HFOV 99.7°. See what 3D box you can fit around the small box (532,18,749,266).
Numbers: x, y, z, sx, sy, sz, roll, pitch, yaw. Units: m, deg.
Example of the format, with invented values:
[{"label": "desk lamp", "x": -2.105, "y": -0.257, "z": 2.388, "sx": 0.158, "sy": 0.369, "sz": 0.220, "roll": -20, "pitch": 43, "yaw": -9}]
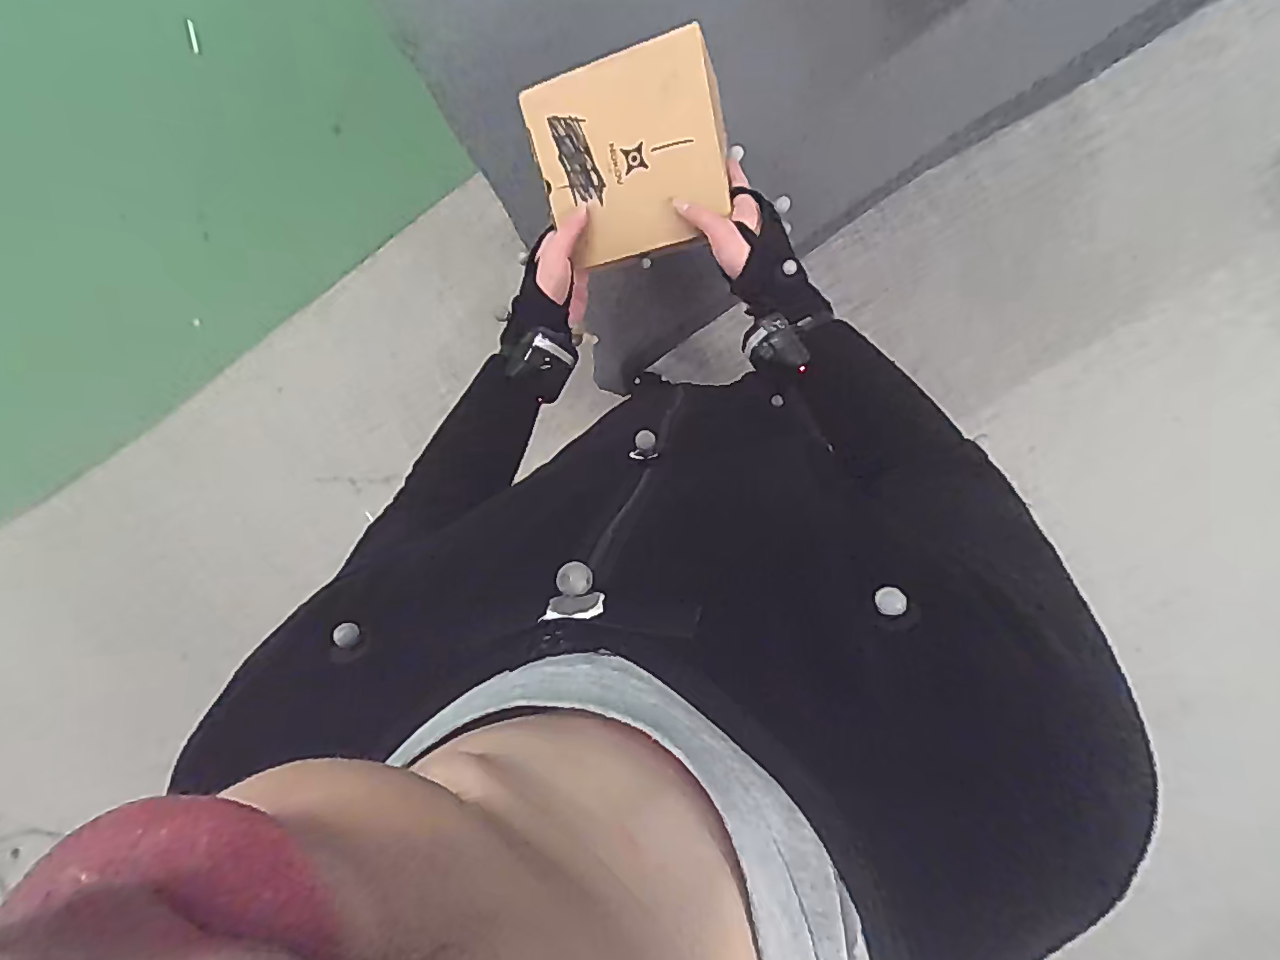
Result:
[{"label": "small box", "x": 0.015, "y": -0.329, "z": 0.570, "sx": 0.179, "sy": 0.176, "sz": 0.168, "roll": -8, "pitch": 111, "yaw": 15}]
